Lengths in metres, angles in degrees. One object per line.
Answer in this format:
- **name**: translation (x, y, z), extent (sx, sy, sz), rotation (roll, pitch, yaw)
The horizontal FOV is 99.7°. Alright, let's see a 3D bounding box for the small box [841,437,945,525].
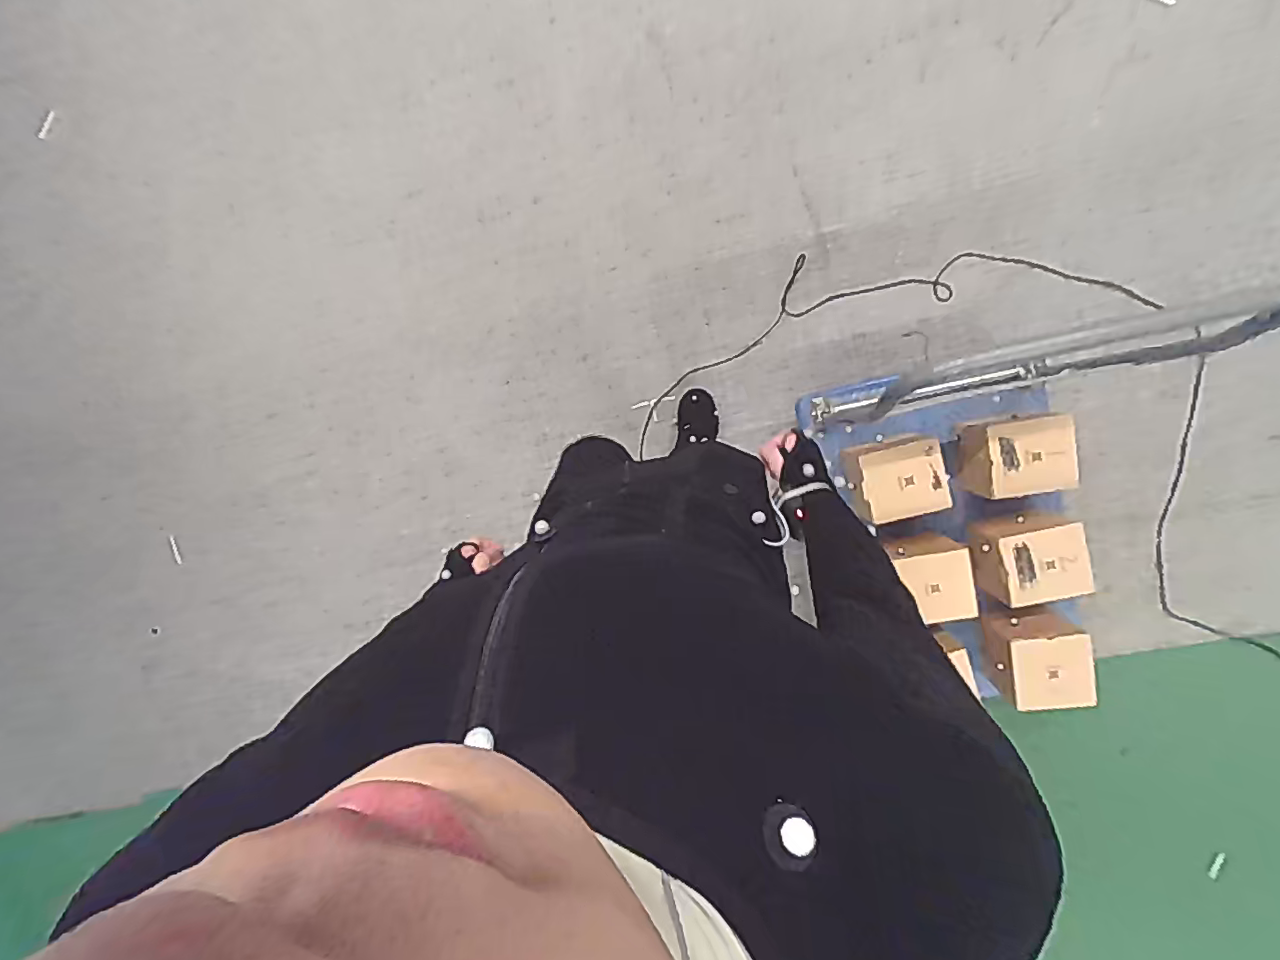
- **small box**: translation (0.592, -0.002, 1.291), extent (0.179, 0.176, 0.168), rotation (-13, 96, 9)

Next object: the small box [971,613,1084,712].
- **small box**: translation (0.930, 0.434, 1.312), extent (0.168, 0.176, 0.179), rotation (-8, 96, 9)

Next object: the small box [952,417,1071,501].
- **small box**: translation (0.848, -0.053, 1.254), extent (0.179, 0.176, 0.168), rotation (-9, 97, 7)
